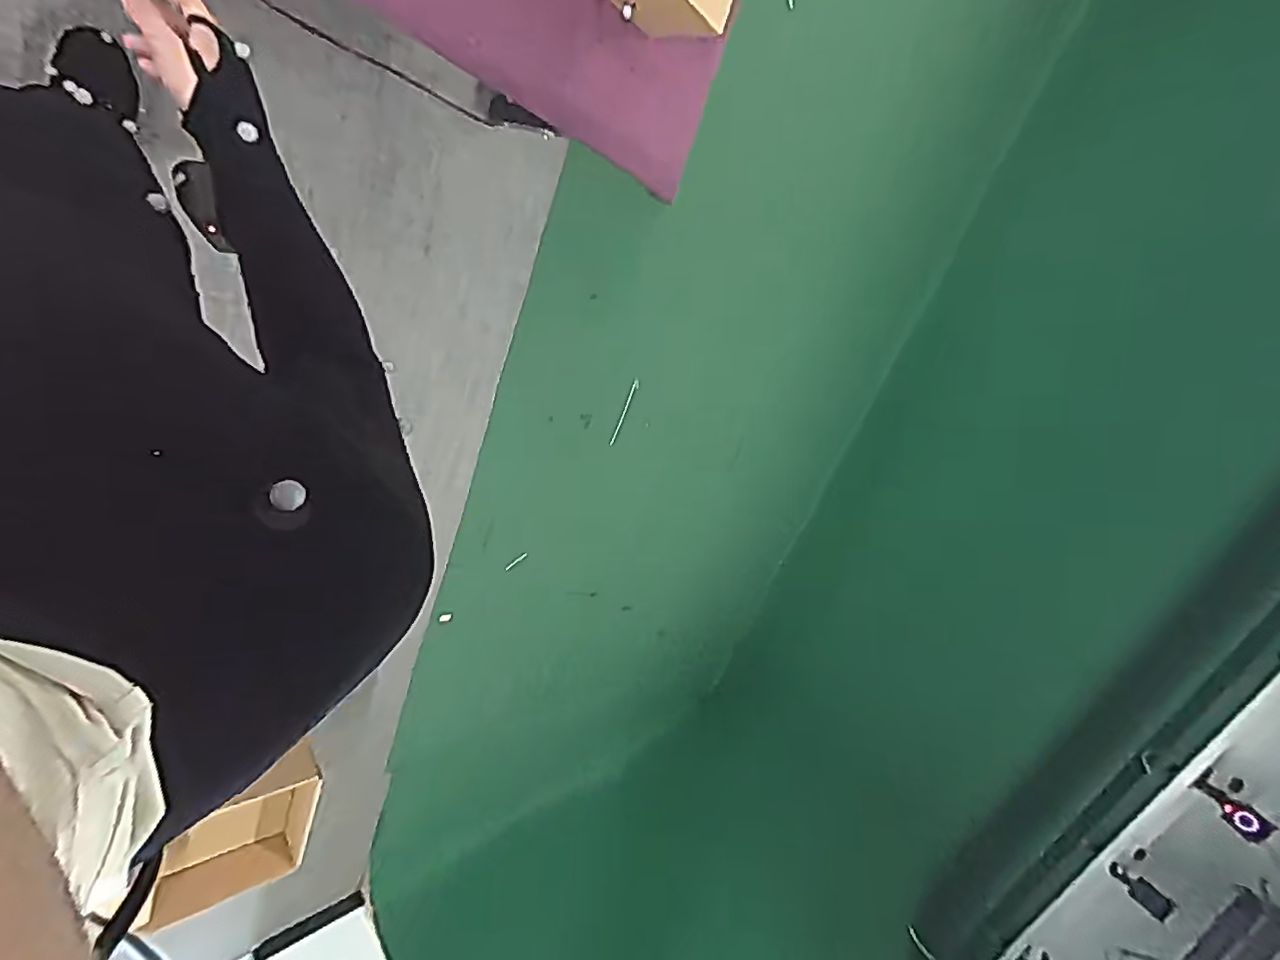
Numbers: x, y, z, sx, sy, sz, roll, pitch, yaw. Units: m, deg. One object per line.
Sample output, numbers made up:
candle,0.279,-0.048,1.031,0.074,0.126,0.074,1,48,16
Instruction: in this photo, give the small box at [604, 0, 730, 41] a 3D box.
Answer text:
small box,0.034,-0.777,0.778,0.179,0.176,0.168,-1,119,-48

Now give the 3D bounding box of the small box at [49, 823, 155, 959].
small box,-1.277,0.971,1.285,0.168,0.176,0.179,3,116,-48
